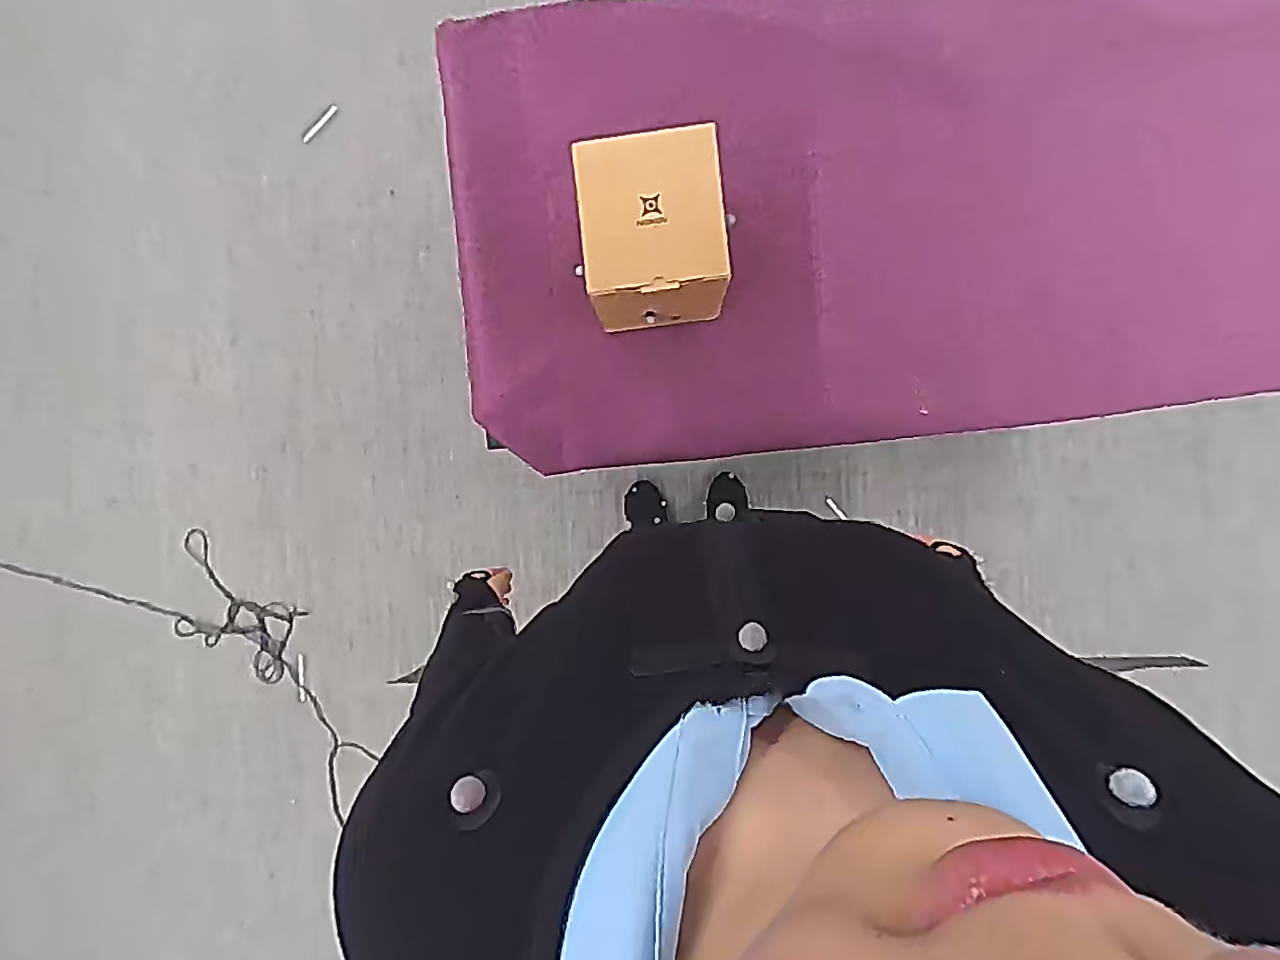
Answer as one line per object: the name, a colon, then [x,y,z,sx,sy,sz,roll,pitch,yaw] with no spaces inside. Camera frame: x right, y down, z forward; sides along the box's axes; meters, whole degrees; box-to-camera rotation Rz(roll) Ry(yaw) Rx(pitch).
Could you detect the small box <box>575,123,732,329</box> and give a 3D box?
small box: [0.017,-0.309,0.692,0.168,0.176,0.179,-7,91,3]
